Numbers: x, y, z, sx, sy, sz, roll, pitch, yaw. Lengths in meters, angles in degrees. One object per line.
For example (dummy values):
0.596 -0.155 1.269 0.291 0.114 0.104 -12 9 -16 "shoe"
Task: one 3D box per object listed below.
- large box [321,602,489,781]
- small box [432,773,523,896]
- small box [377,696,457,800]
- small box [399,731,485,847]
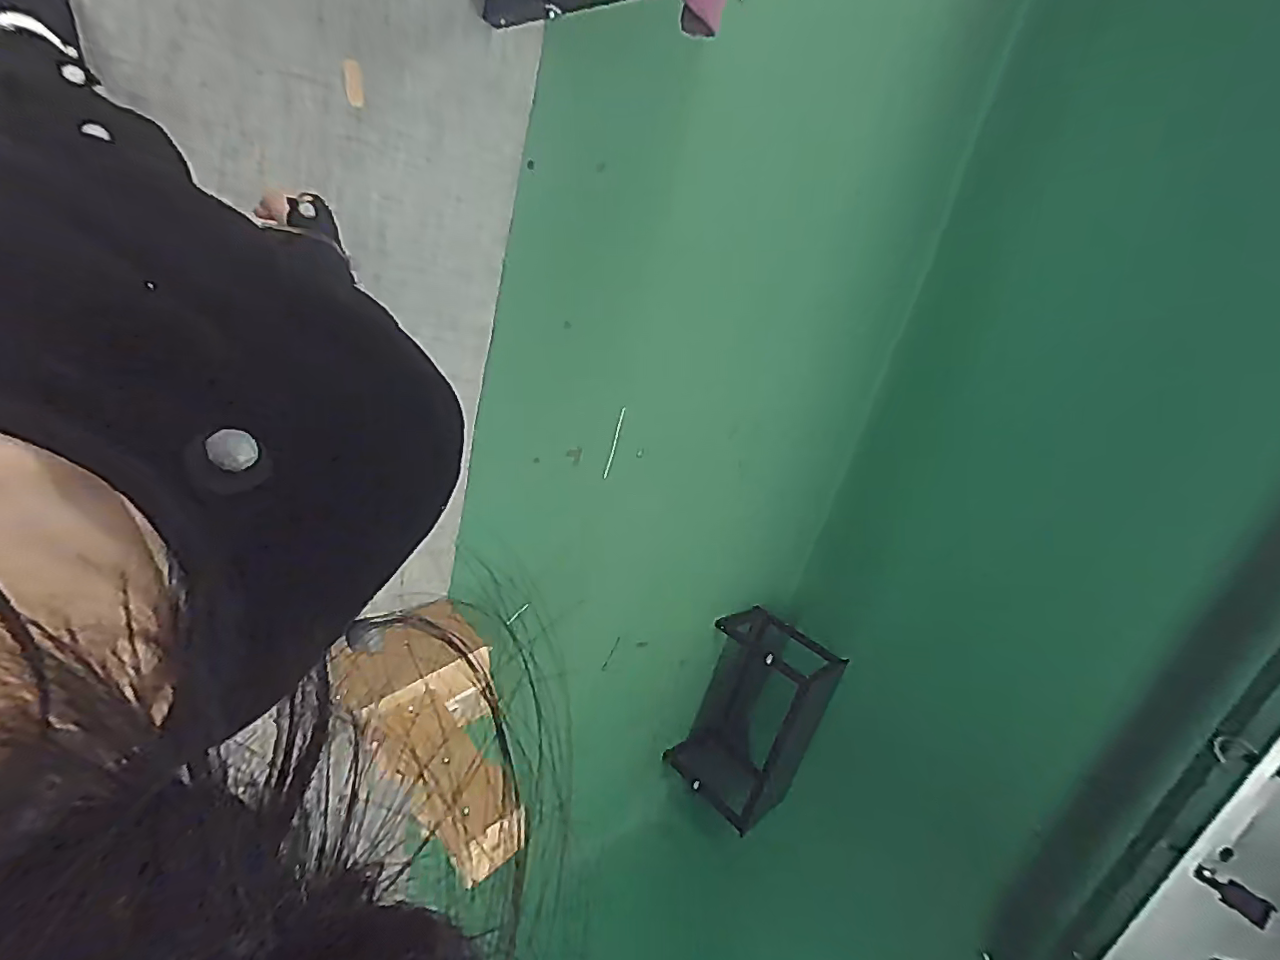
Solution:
-0.767 0.677 1.796 0.408 0.320 0.320 -22 129 -41 "large box"
-0.420 0.897 1.392 0.168 0.176 0.179 -19 126 -41 "small box"
-0.657 0.777 1.584 0.179 0.176 0.168 -15 124 -42 "small box"
-0.542 0.839 1.483 0.179 0.176 0.168 -22 127 -41 "small box"
